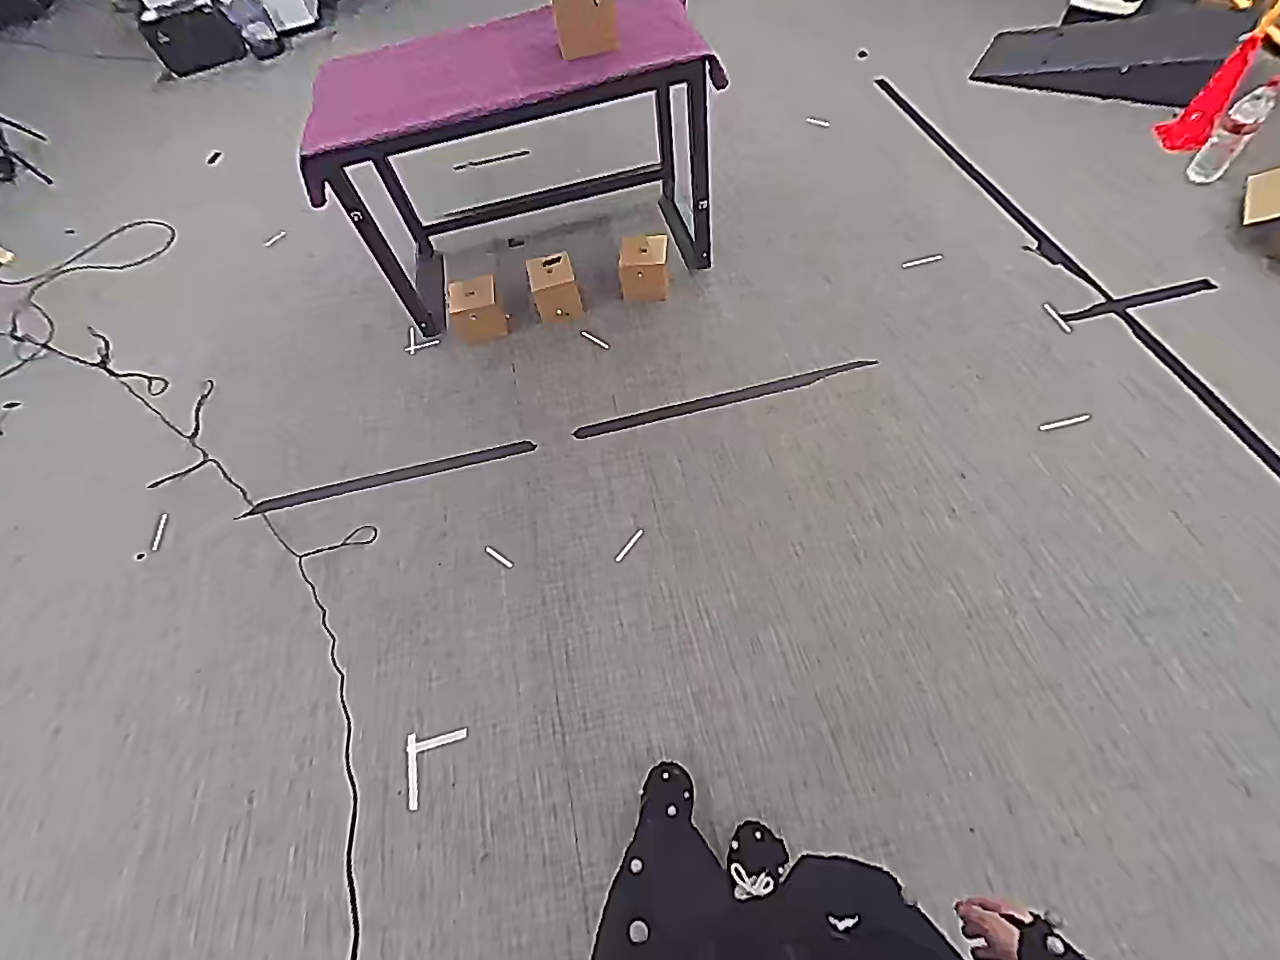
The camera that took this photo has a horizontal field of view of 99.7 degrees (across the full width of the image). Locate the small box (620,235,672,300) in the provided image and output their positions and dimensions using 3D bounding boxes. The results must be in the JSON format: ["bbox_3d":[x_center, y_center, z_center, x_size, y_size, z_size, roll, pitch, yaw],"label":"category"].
[{"bbox_3d":[0.029,-0.817,2.084,0.179,0.176,0.168,0,60,10],"label":"small box"}]

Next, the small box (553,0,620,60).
[{"bbox_3d":[-0.161,-1.382,1.590,0.179,0.176,0.168,-13,58,1],"label":"small box"}]

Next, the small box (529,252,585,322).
[{"bbox_3d":[-0.321,-0.745,2.091,0.168,0.176,0.179,-15,60,0],"label":"small box"}]

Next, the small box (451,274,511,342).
[{"bbox_3d":[-0.613,-0.656,2.085,0.179,0.176,0.168,-12,60,0],"label":"small box"}]
